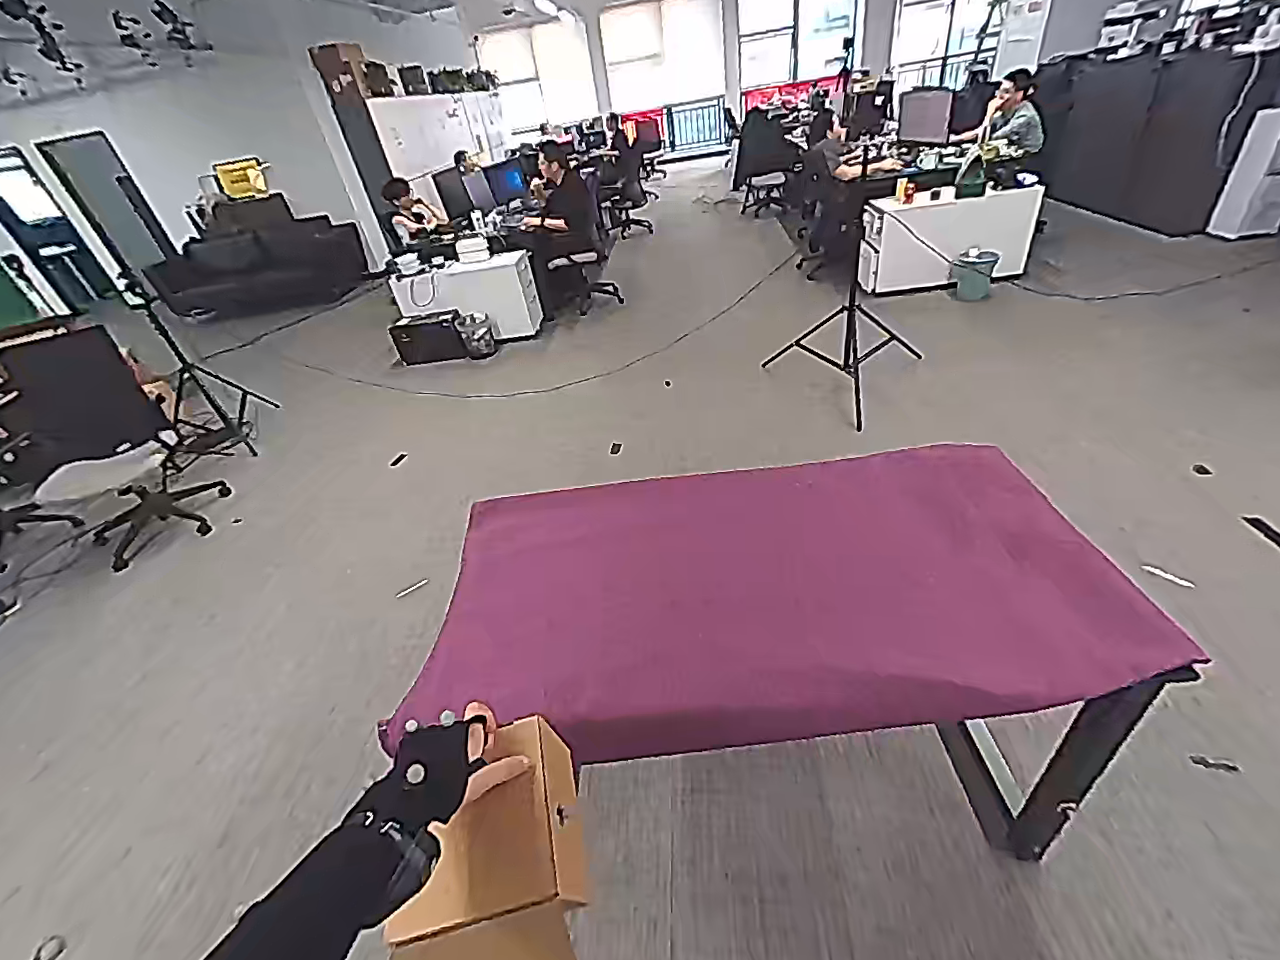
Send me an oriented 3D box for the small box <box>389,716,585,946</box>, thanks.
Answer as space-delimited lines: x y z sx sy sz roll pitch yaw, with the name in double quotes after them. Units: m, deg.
-0.167 0.405 0.626 0.168 0.176 0.179 -14 49 -4 "small box"
